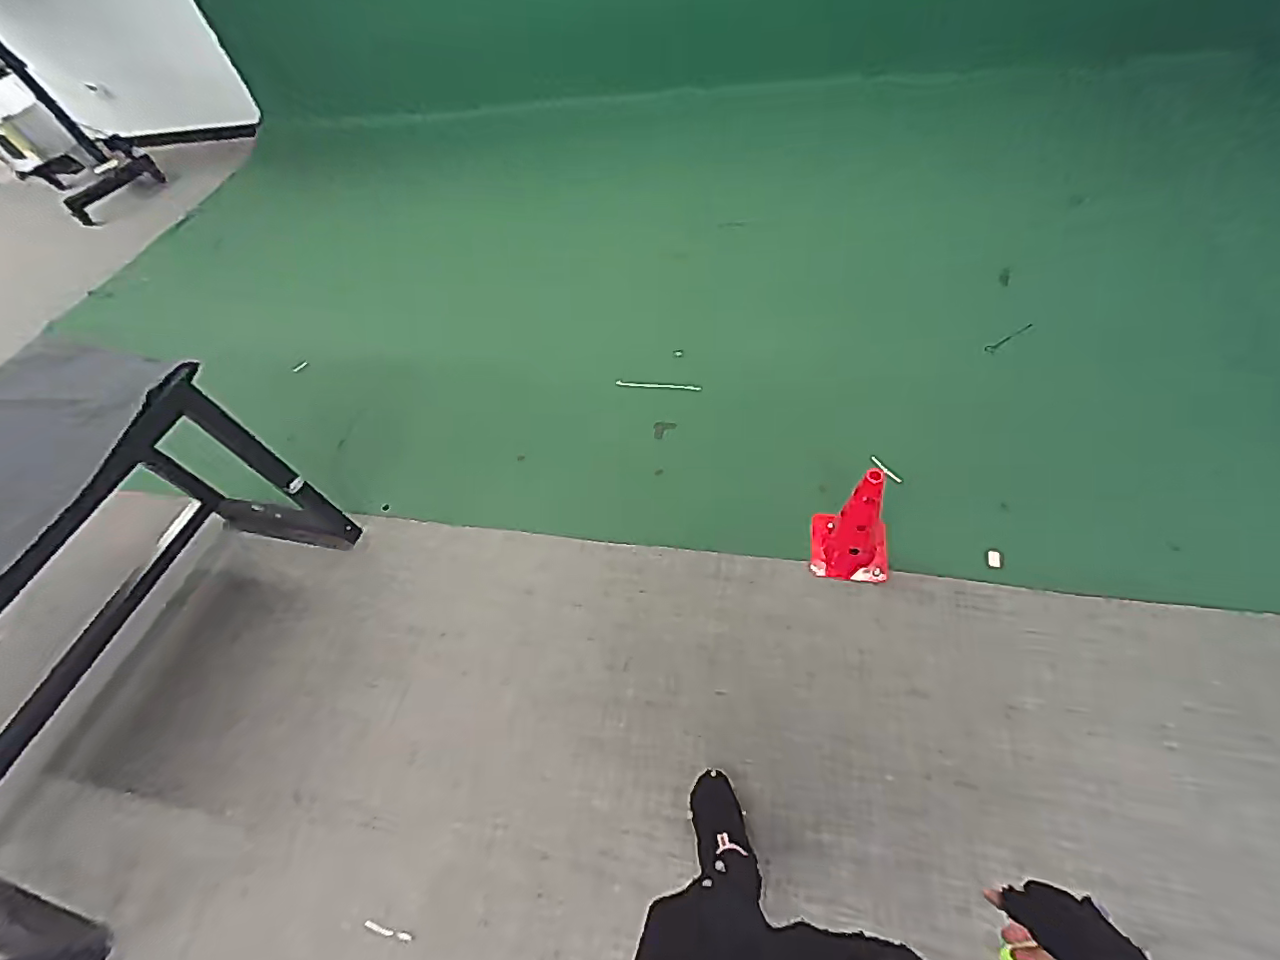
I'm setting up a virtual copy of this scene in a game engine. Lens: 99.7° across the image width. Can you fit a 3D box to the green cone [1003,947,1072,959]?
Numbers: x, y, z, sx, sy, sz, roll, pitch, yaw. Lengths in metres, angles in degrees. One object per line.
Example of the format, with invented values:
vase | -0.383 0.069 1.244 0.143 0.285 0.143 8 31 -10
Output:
green cone | 0.728 0.865 0.801 0.200 0.368 0.202 4 57 12
